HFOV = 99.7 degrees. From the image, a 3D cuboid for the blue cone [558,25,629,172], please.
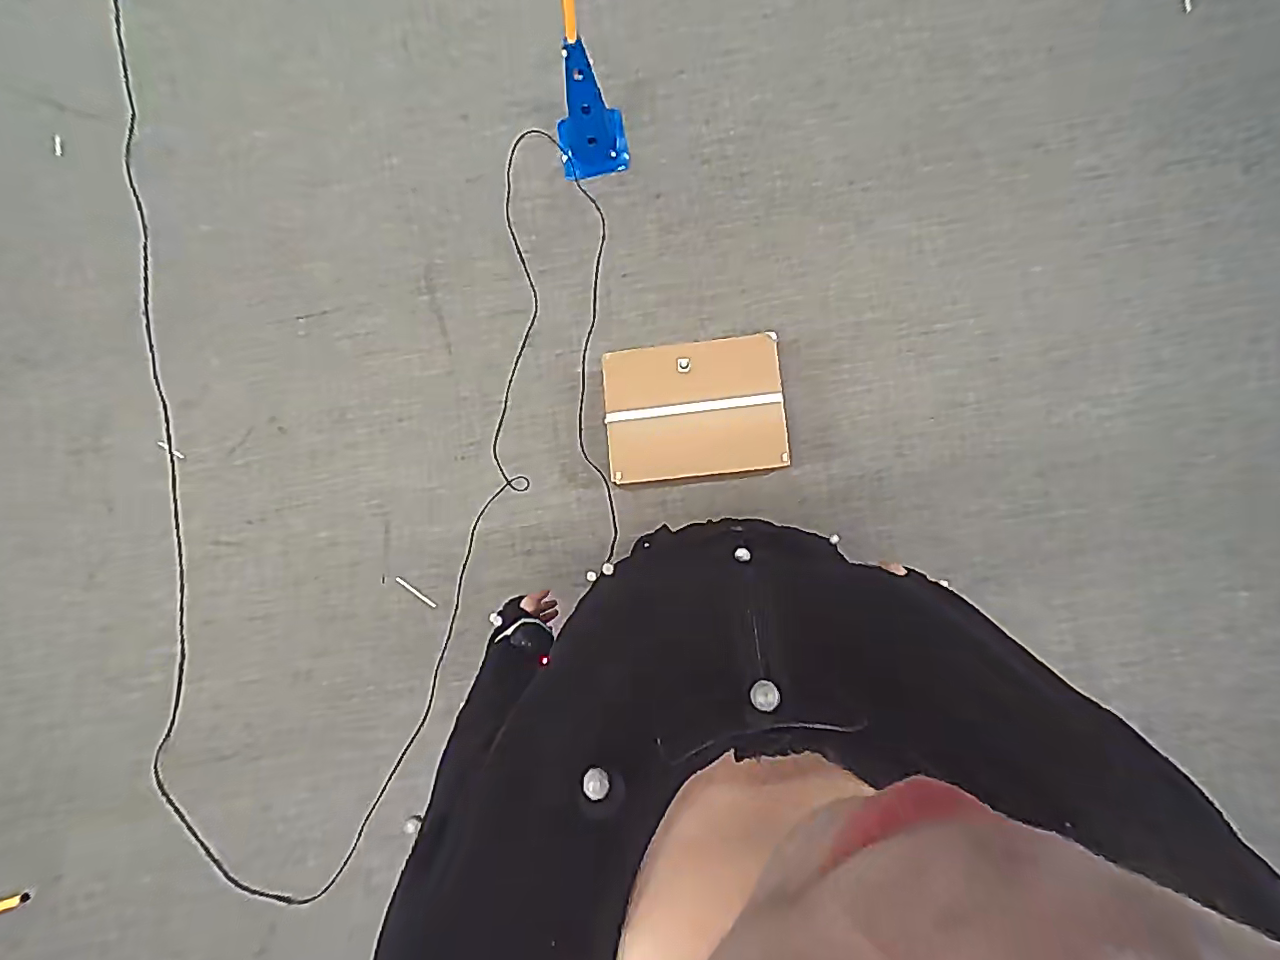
[{"bbox_3d":[-0.145,-1.028,1.430,0.193,0.380,0.192,-12,85,1],"label":"blue cone"}]
